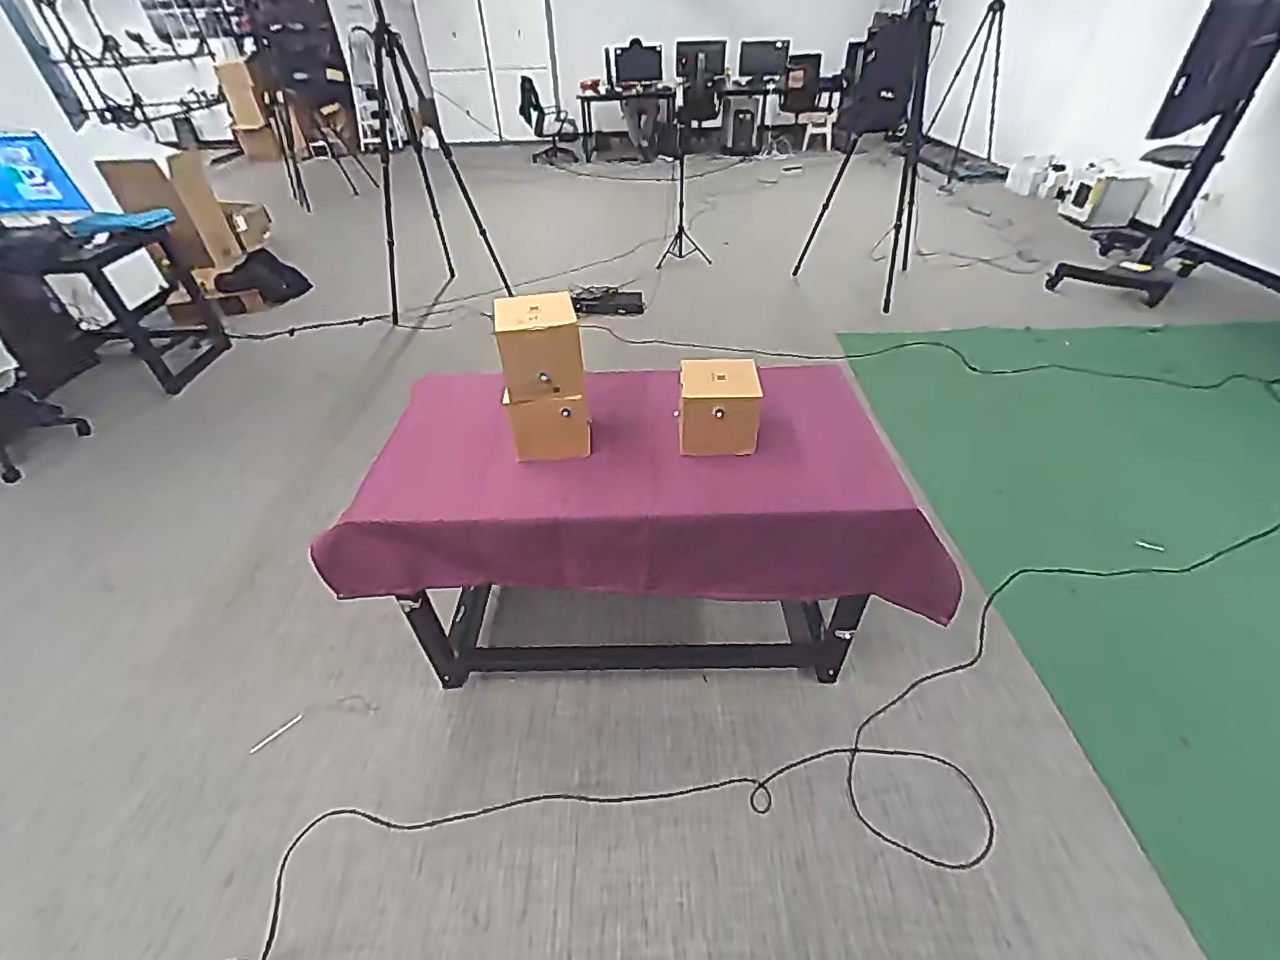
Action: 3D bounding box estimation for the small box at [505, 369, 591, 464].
[{"bbox_3d":[-0.213,-0.151,1.291,0.179,0.176,0.168,-4,40,-3],"label":"small box"}]

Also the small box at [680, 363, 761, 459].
[{"bbox_3d":[0.183,-0.163,1.280,0.179,0.176,0.168,0,41,3],"label":"small box"}]

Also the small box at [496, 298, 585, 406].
[{"bbox_3d":[-0.219,-0.283,1.193,0.168,0.176,0.179,-10,41,-8],"label":"small box"}]
